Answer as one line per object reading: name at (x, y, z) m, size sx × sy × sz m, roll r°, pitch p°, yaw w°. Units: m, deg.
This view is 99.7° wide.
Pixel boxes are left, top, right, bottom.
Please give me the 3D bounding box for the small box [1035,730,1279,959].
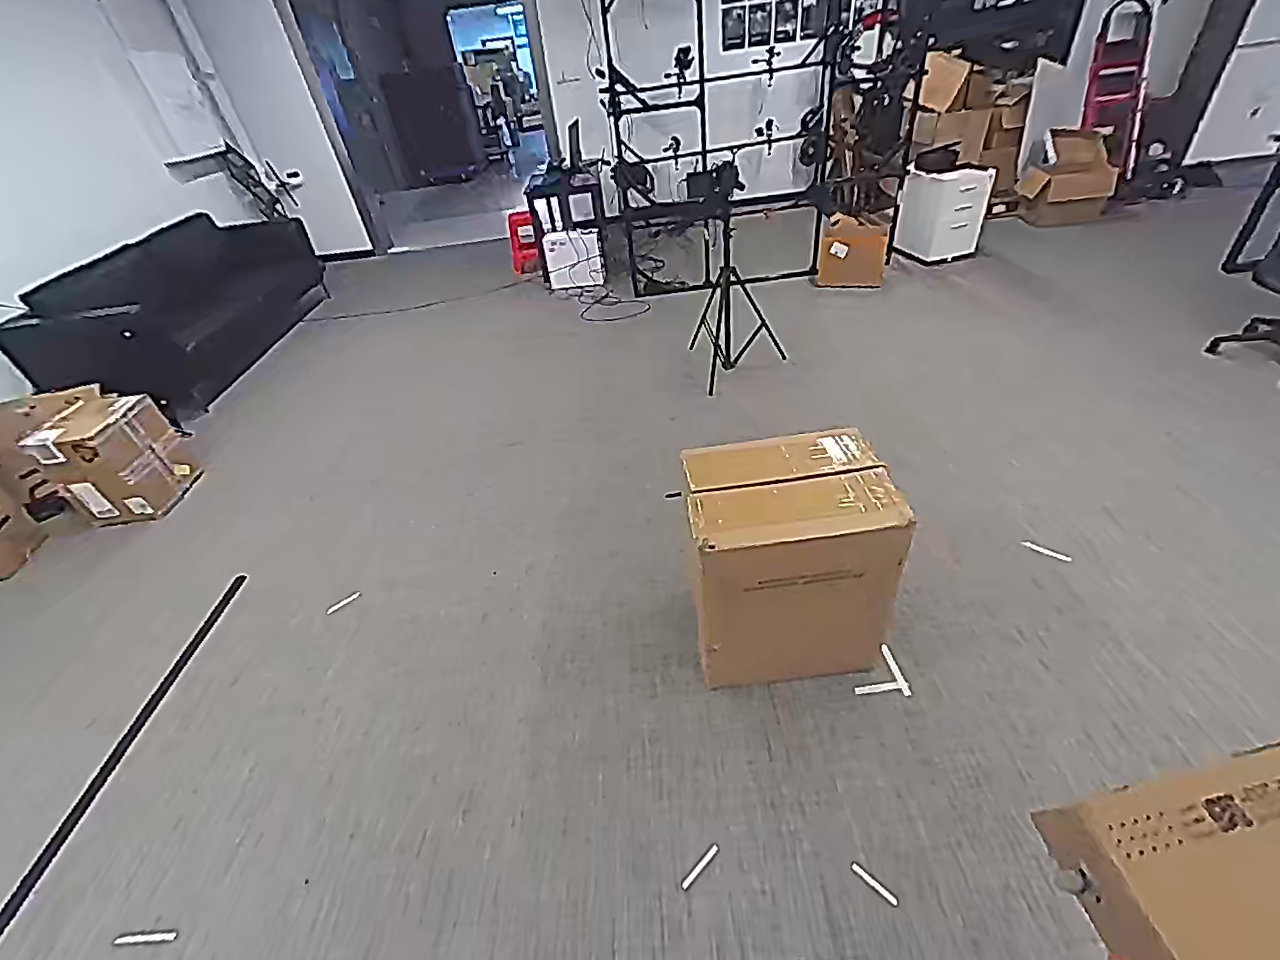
small box at (0.364, 0.245, 0.301) m, size 0.168 × 0.179 × 0.176 m, roll -25°, pitch 52°, yaw 11°
